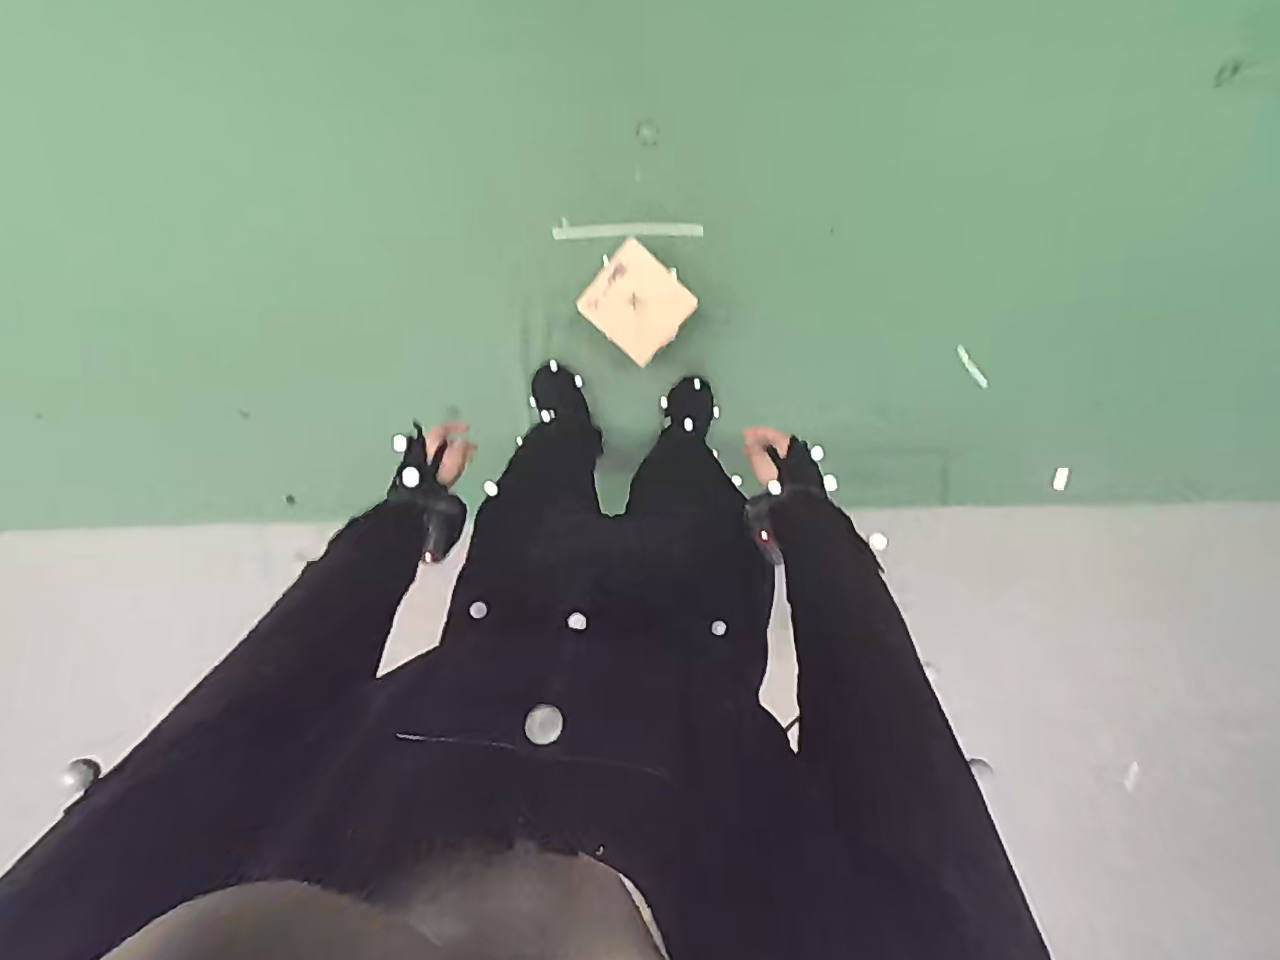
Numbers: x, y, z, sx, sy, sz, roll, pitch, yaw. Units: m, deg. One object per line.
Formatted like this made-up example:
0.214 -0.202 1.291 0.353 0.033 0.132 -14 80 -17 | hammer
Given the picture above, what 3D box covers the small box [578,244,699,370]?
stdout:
-0.002 -0.353 1.103 0.179 0.176 0.168 41 104 -13 | small box
